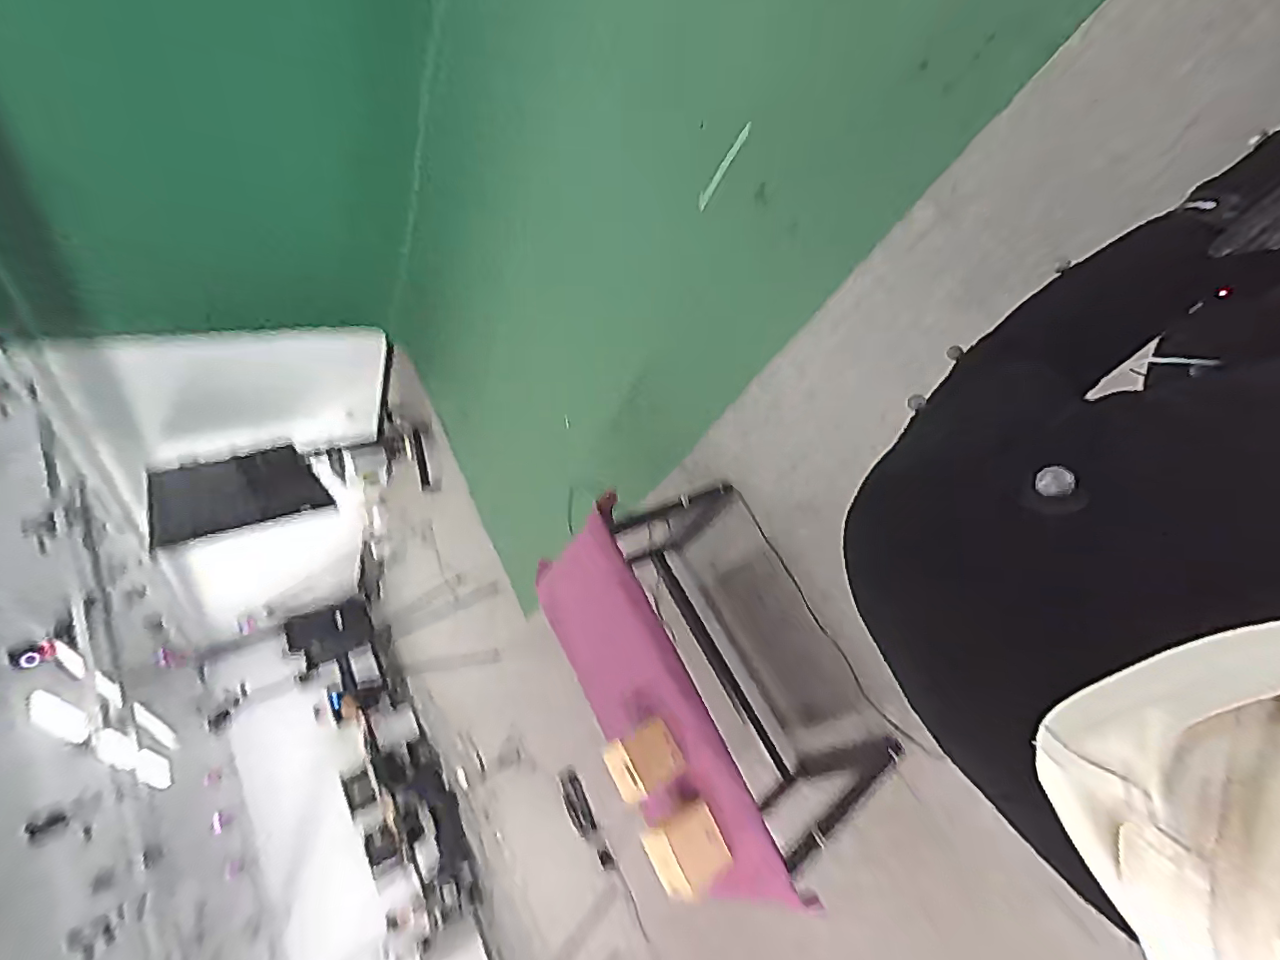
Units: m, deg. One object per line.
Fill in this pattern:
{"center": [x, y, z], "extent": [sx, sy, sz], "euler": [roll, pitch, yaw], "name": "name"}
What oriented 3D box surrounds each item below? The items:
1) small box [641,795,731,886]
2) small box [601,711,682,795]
{"center": [0.138, 1.083, 1.638], "extent": [0.179, 0.176, 0.168], "euler": [61, 141, 16], "name": "small box"}
{"center": [0.009, 0.861, 1.714], "extent": [0.168, 0.176, 0.179], "euler": [57, 141, 19], "name": "small box"}
